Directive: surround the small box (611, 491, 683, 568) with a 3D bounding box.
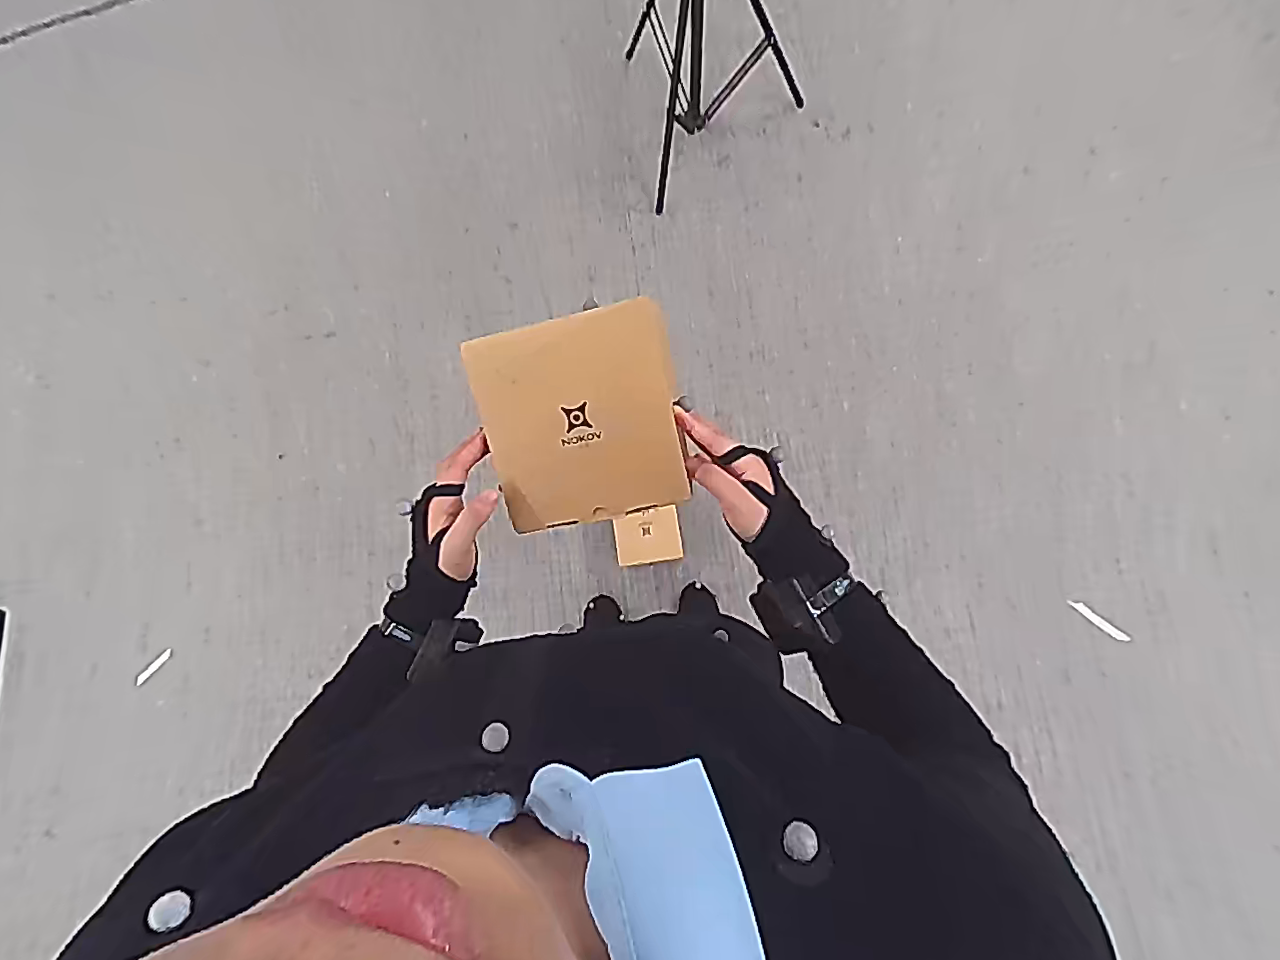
[{"bbox_3d":[0.023,0.137,1.440,0.168,0.176,0.179,-9,78,3],"label":"small box"}]
